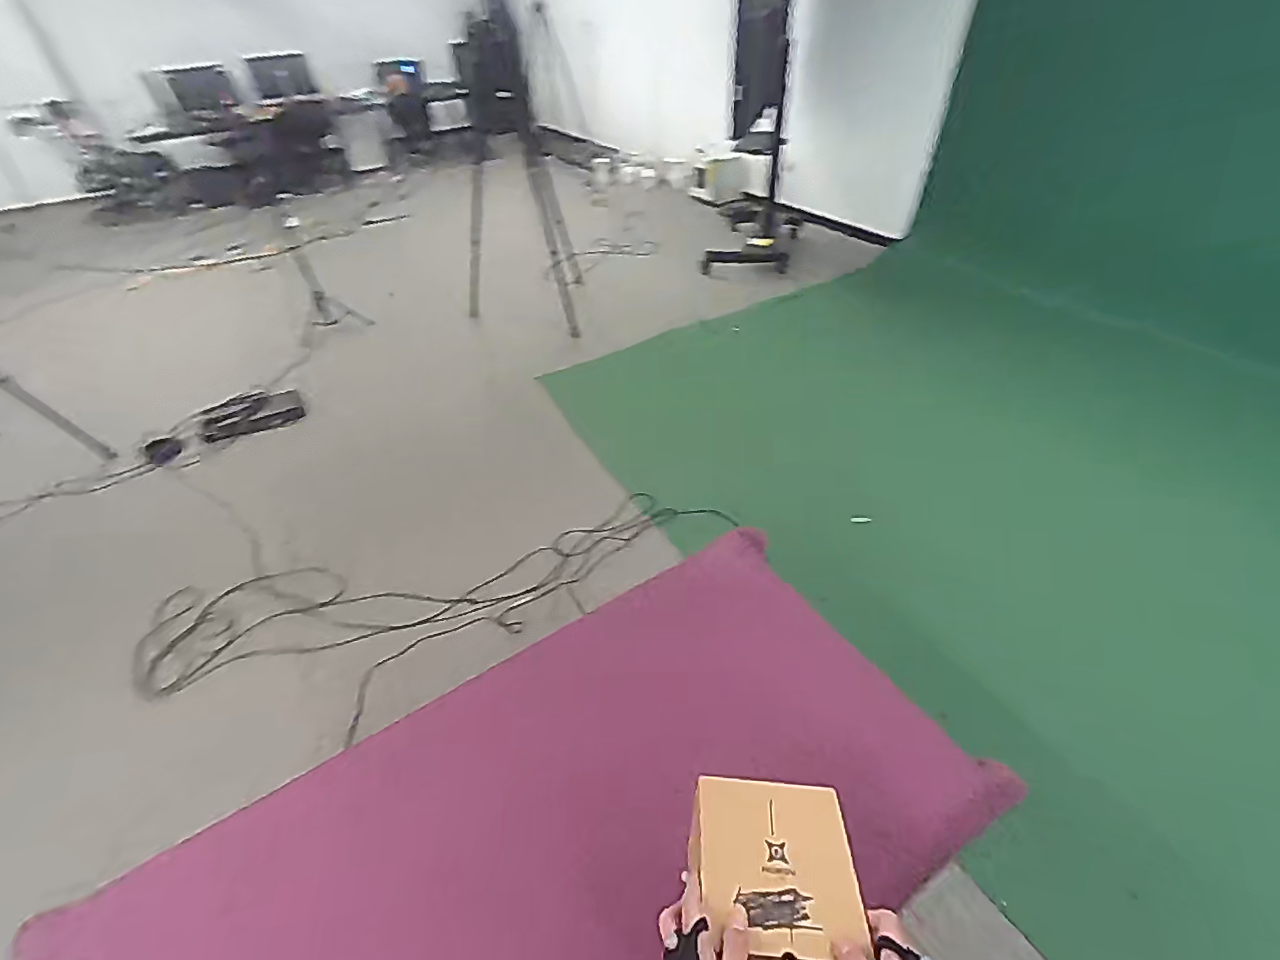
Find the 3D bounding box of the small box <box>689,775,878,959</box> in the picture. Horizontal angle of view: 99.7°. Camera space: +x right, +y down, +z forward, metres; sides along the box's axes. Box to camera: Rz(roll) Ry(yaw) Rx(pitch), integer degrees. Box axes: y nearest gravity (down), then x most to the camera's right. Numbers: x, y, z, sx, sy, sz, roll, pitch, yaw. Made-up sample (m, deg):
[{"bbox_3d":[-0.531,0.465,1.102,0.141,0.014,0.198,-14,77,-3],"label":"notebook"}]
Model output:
[{"bbox_3d":[0.145,0.472,0.608,0.168,0.176,0.179,5,29,4],"label":"small box"}]
